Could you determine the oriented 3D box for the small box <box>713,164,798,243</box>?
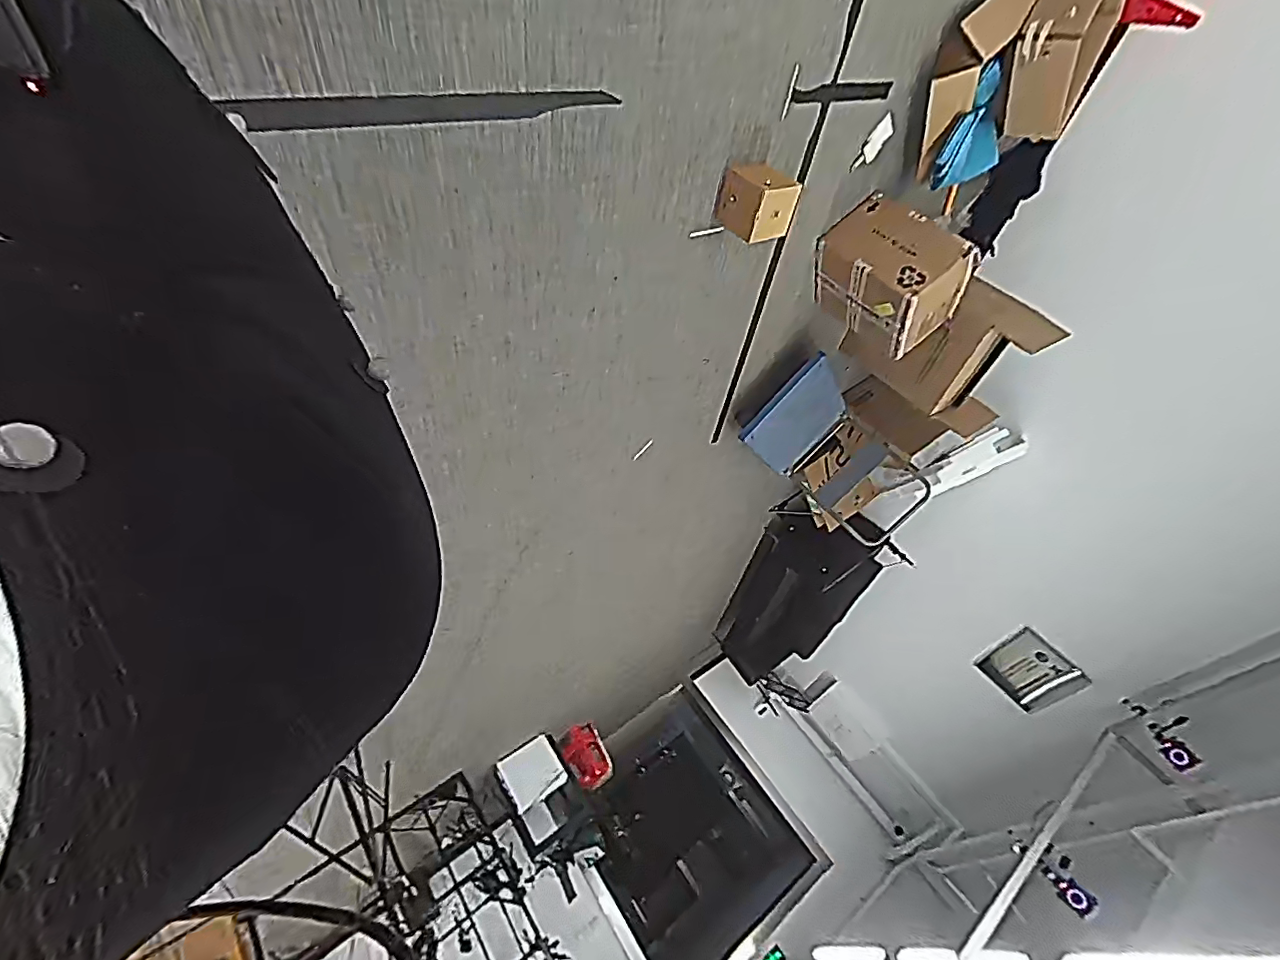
[{"bbox_3d":[0.368,-0.896,1.743,0.179,0.176,0.168,-25,149,-28],"label":"small box"}]
